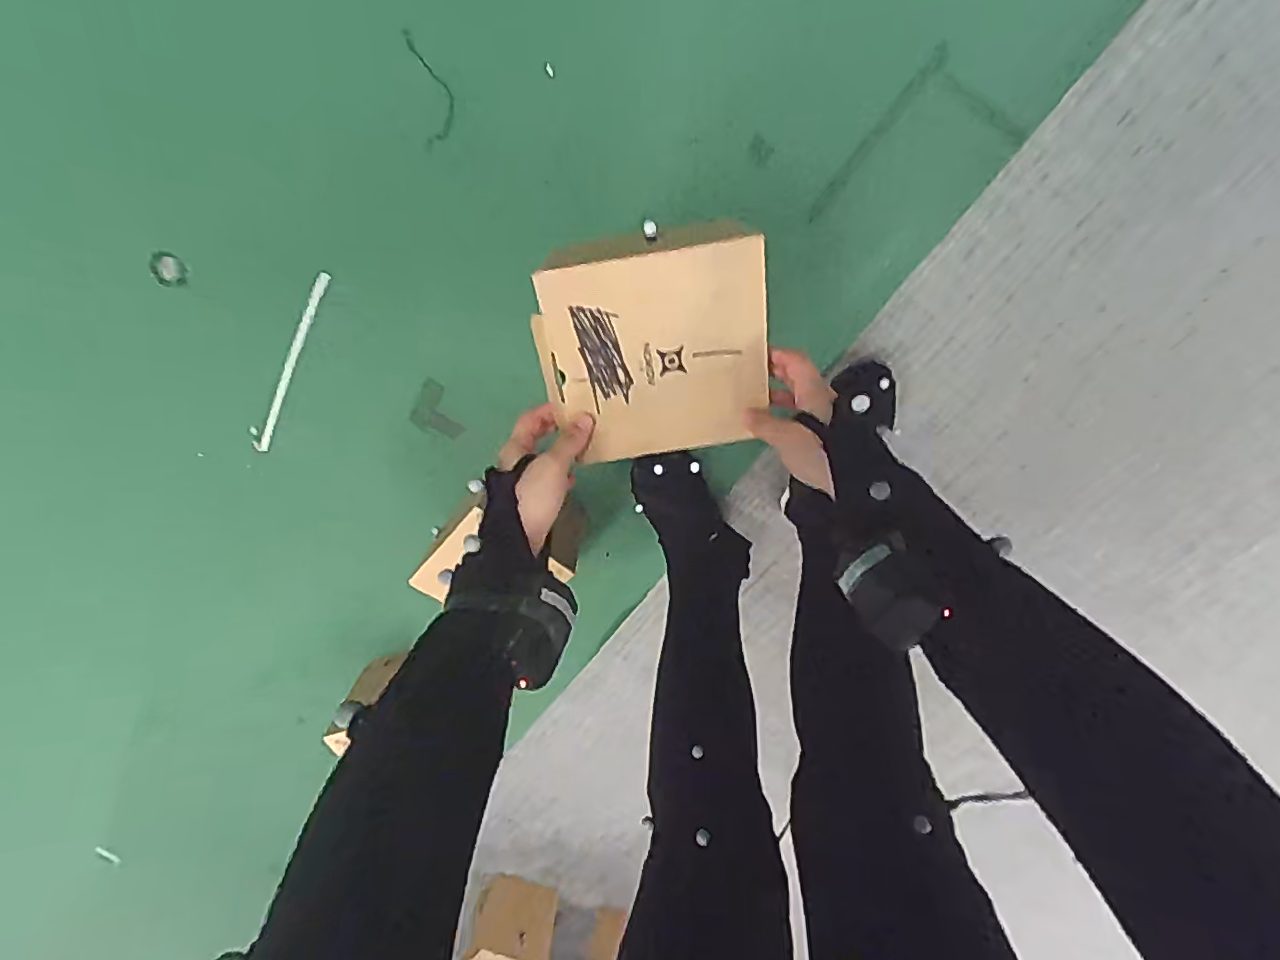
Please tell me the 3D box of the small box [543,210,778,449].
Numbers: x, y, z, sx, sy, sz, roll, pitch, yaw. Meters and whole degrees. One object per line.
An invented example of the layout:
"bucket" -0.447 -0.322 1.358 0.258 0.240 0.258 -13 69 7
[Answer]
"small box" 0.021 -0.148 0.508 0.179 0.176 0.168 -9 120 2

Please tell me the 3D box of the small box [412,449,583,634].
"small box" -0.200 0.088 0.812 0.168 0.176 0.179 38 112 -19

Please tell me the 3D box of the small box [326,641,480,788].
"small box" -0.427 0.435 1.011 0.168 0.176 0.179 -20 117 12

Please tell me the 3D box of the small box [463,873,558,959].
"small box" -0.332 1.164 1.408 0.179 0.176 0.168 29 115 -13
